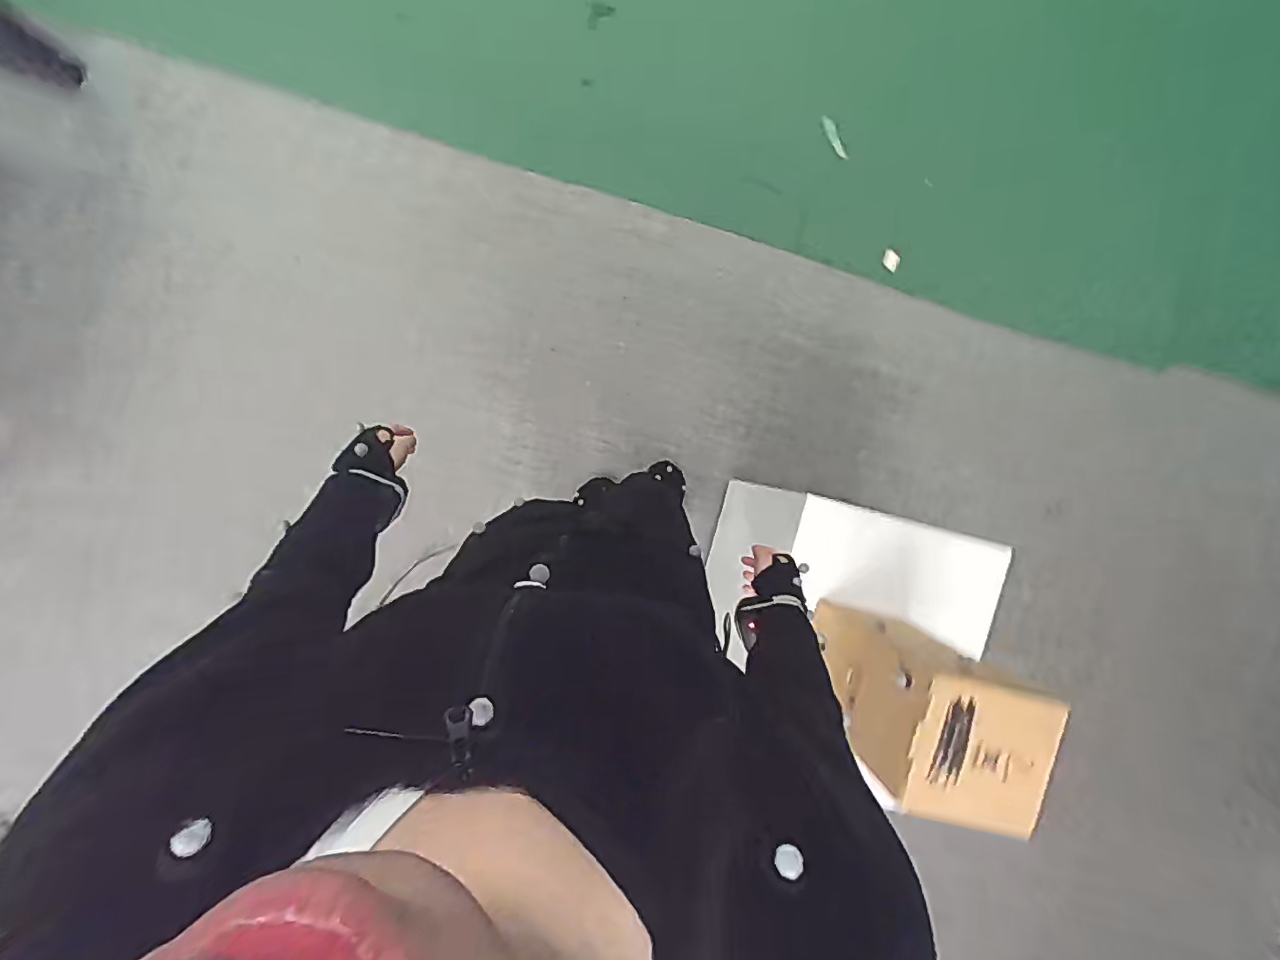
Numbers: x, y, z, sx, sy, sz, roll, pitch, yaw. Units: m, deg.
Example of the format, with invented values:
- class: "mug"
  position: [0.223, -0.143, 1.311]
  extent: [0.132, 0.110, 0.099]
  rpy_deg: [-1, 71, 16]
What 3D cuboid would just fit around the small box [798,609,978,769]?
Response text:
- class: "small box"
  position: [0.380, 0.318, 0.856]
  extent: [0.179, 0.176, 0.168]
  rpy_deg: [15, 91, -5]
